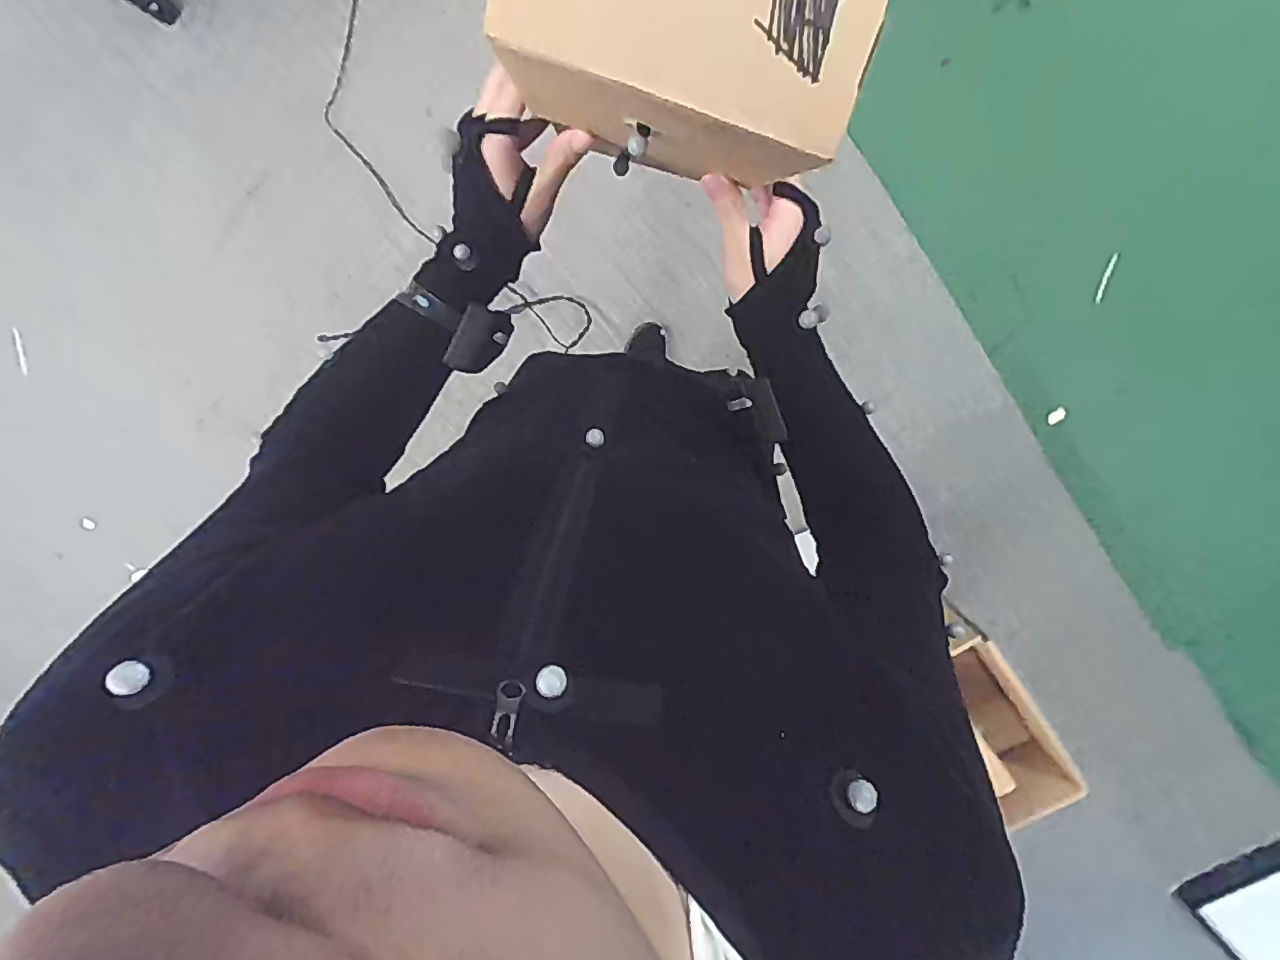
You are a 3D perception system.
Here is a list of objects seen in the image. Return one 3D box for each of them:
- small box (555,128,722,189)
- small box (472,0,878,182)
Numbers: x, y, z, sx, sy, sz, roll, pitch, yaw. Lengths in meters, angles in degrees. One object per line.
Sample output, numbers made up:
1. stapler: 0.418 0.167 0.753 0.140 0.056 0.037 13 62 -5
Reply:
1. small box: 0.019 -0.360 0.444 0.168 0.176 0.179 11 113 -8
2. small box: 0.025 -0.281 0.299 0.179 0.176 0.168 14 112 -9
